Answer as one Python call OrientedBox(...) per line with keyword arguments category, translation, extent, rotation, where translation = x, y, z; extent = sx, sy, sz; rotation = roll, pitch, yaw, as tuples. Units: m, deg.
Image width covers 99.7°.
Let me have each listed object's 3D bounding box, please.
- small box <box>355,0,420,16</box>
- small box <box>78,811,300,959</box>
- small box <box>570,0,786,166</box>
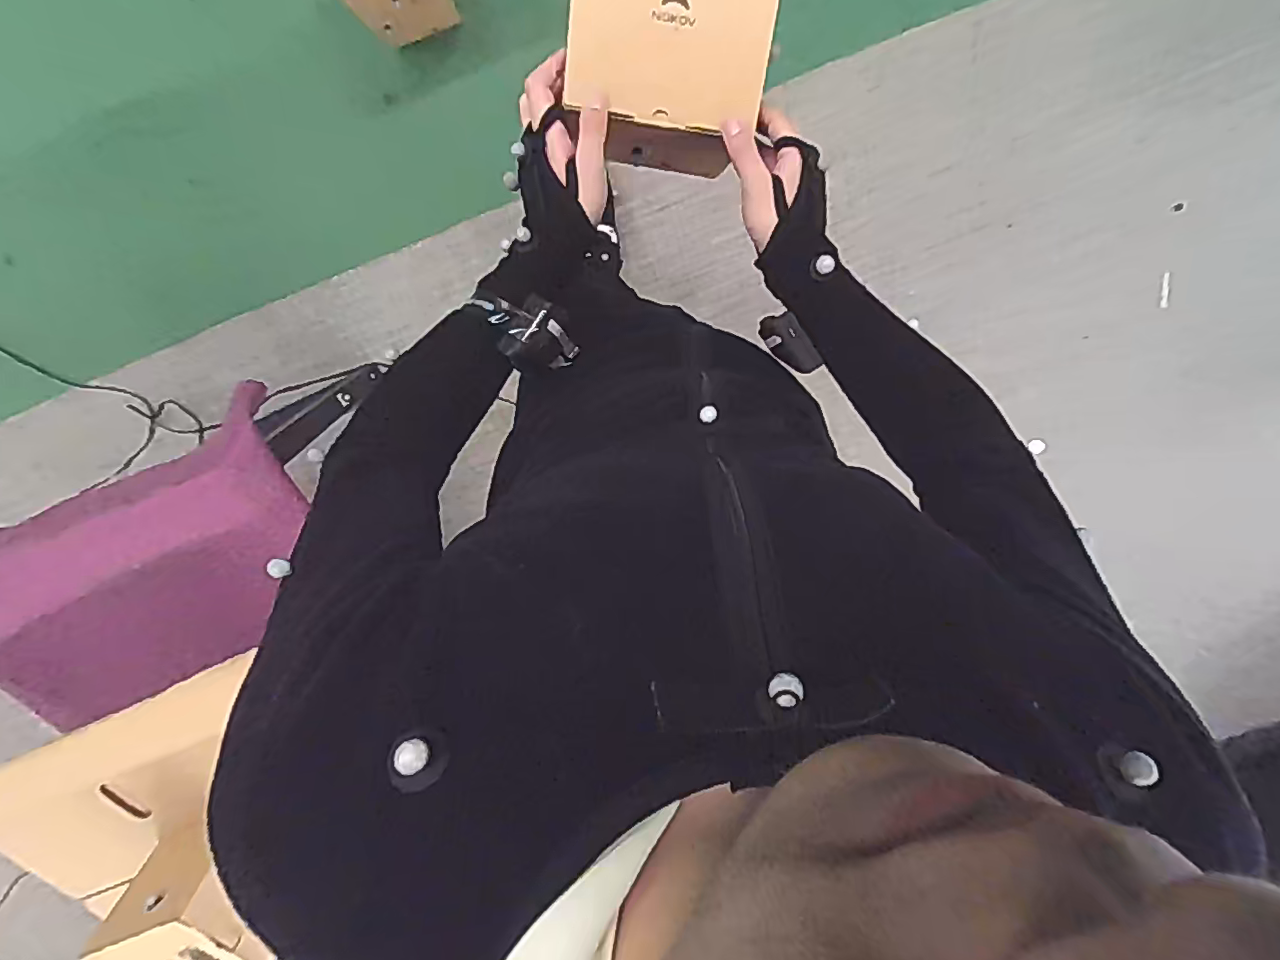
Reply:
OrientedBox(category="small box", translation=(-0.459, -0.943, 0.916), extent=(0.168, 0.176, 0.179), rotation=(-18, 116, 3))
OrientedBox(category="small box", translation=(-0.667, 0.653, 0.833), extent=(0.179, 0.176, 0.168), rotation=(-24, 114, 6))
OrientedBox(category="small box", translation=(0.029, -0.412, 0.494), extent=(0.168, 0.176, 0.179), rotation=(6, 110, -6))
